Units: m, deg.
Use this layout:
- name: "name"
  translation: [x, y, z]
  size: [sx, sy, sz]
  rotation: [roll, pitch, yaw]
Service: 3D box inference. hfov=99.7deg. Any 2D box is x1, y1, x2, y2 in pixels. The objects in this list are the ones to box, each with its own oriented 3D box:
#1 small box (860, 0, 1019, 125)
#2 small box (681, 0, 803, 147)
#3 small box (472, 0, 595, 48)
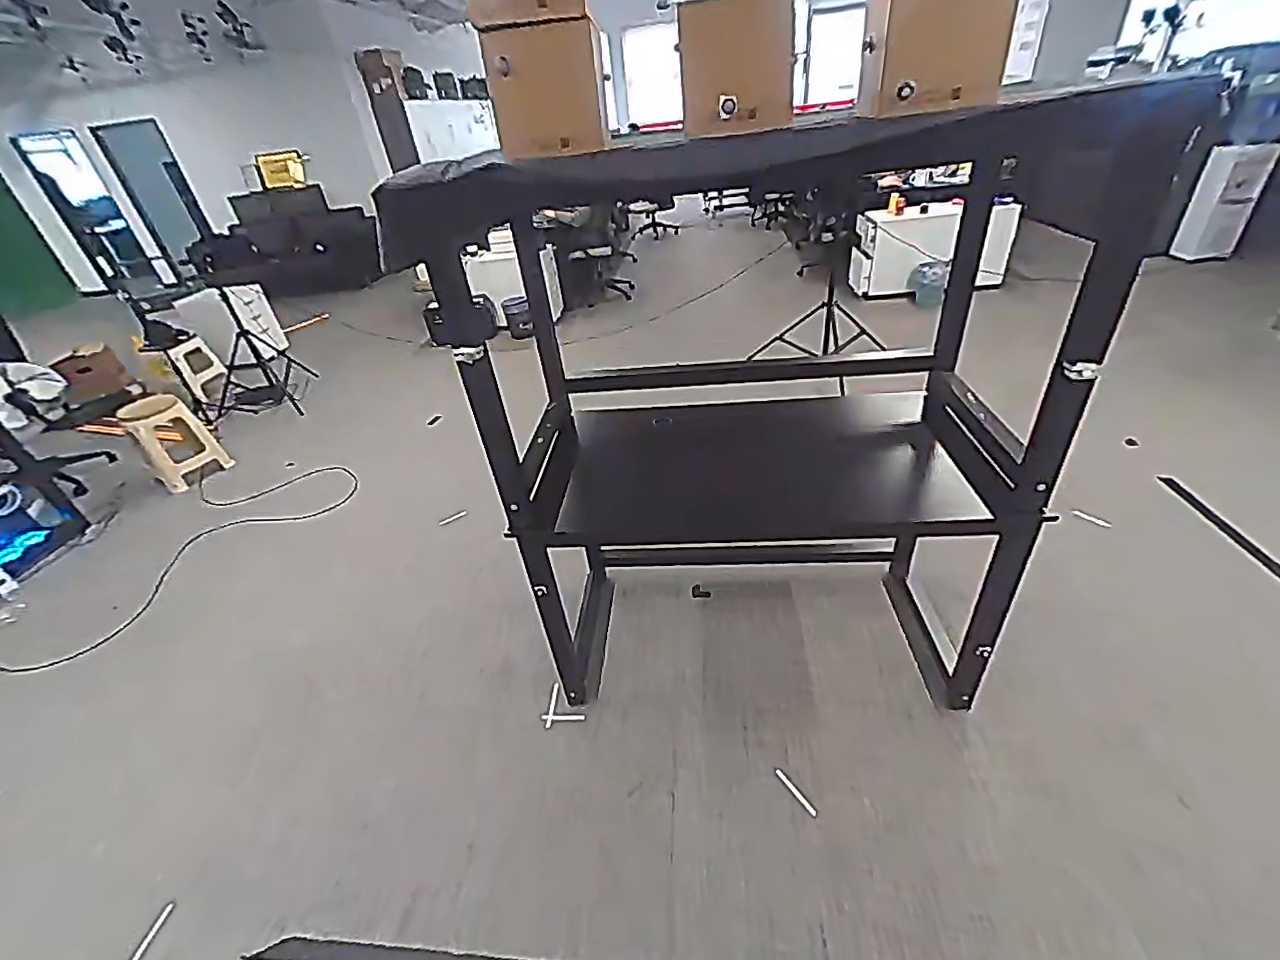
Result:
- name: "small box"
  translation: [0.438, -0.642, 0.809]
  size: [0.168, 0.176, 0.179]
  rotation: [-1, 34, 9]
- name: "small box"
  translation: [0.156, -0.626, 0.841]
  size: [0.168, 0.176, 0.179]
  rotation: [-2, 34, 10]
- name: "small box"
  translation: [-0.157, -0.747, 0.781]
  size: [0.168, 0.176, 0.179]
  rotation: [-4, 34, 1]
